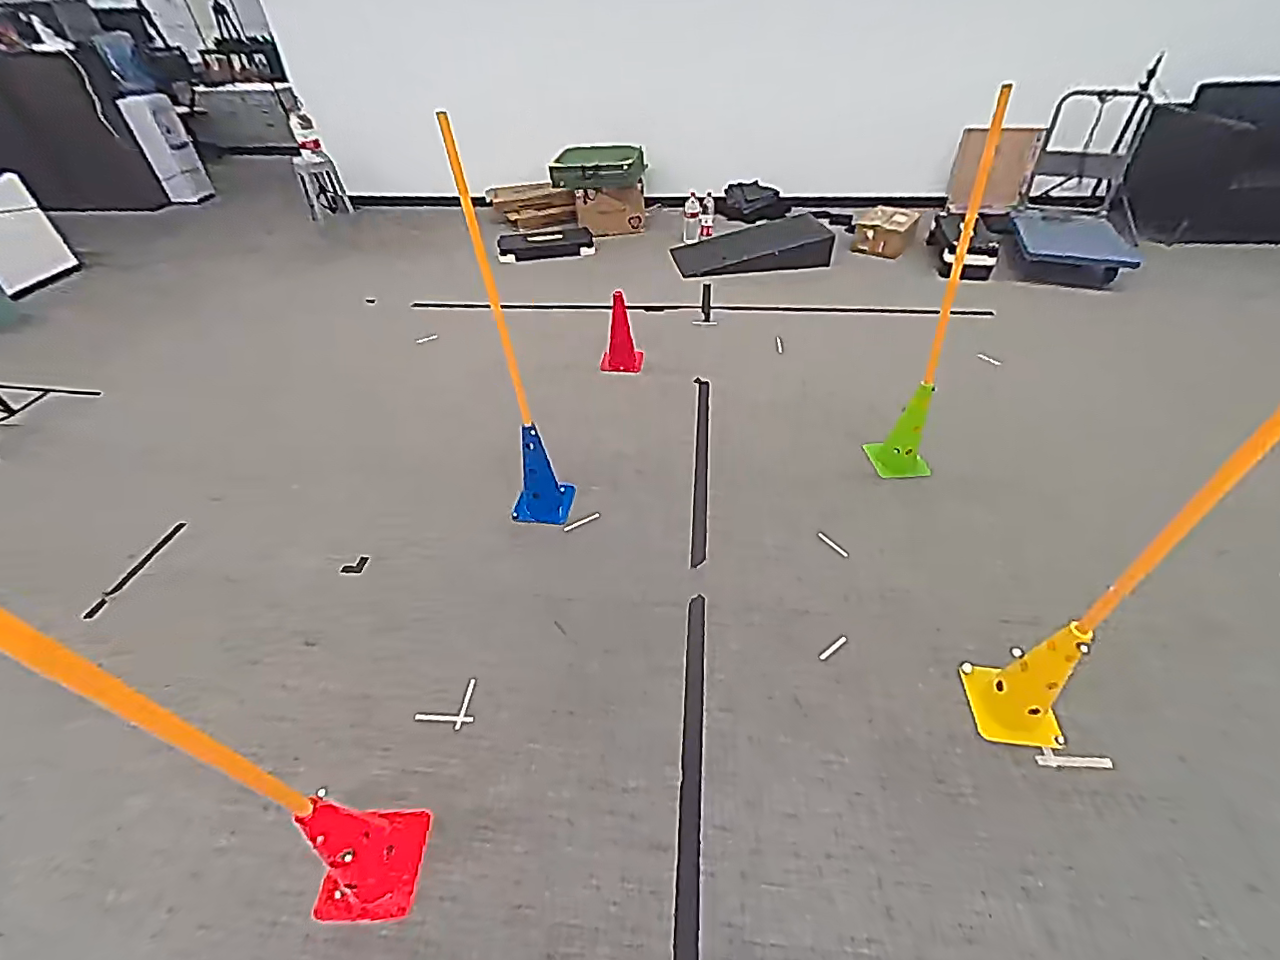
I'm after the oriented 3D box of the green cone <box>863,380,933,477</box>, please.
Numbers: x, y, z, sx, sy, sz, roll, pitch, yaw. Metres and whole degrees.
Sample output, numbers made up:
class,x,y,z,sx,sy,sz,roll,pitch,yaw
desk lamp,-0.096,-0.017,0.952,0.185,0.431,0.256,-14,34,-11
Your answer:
class,x,y,z,sx,sy,sz,roll,pitch,yaw
green cone,0.991,-0.211,1.993,0.200,0.368,0.202,-5,44,-3

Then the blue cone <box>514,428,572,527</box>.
class,x,y,z,sx,sy,sz,roll,pitch,yaw
blue cone,-0.355,-0.027,1.860,0.193,0.380,0.192,4,43,7

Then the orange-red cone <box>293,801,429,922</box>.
class,x,y,z,sx,sy,sz,roll,pitch,yaw
orange-red cone,-0.573,0.698,1.046,0.199,0.360,0.198,0,43,0
